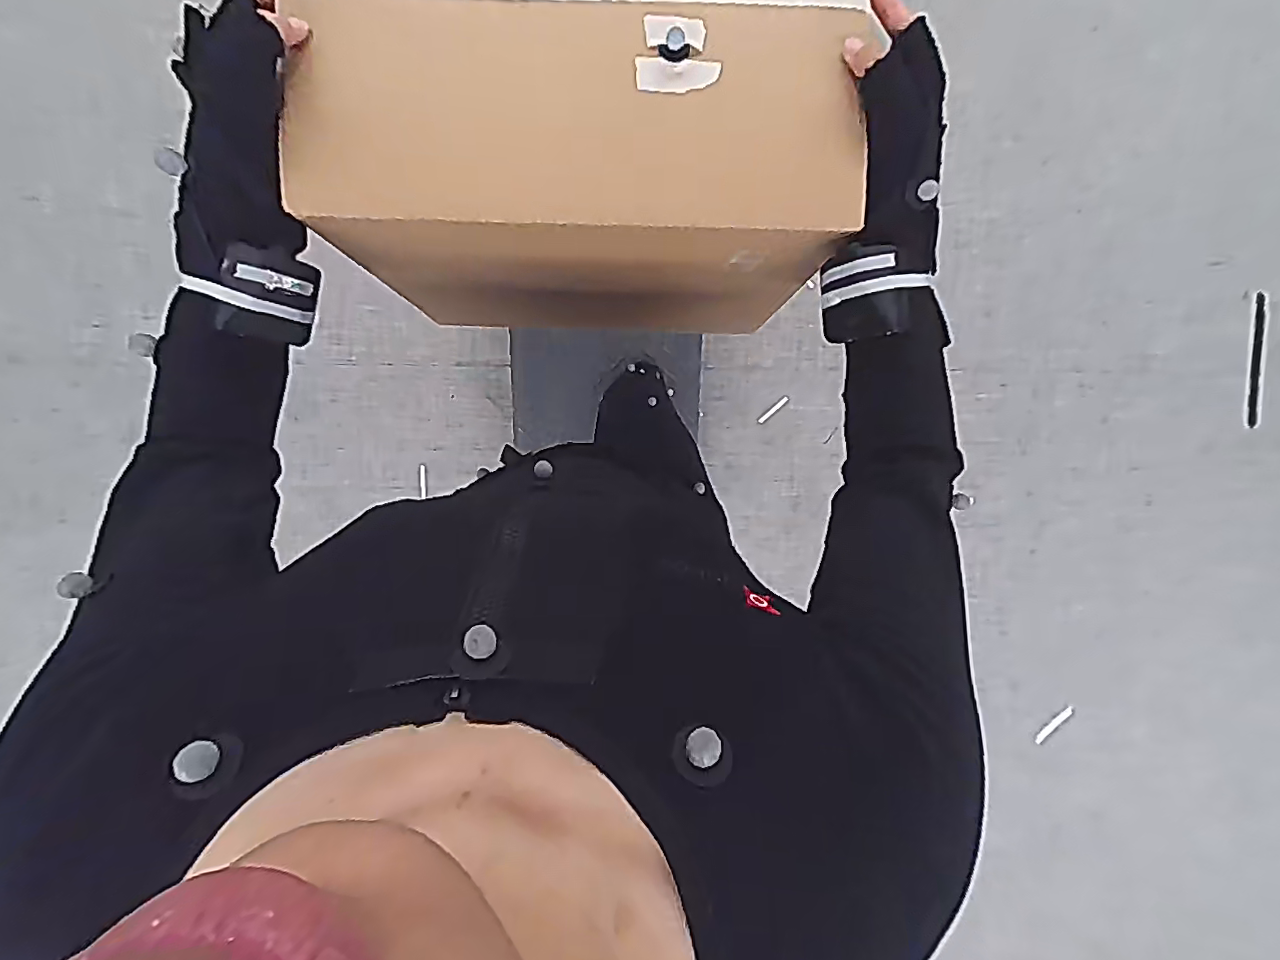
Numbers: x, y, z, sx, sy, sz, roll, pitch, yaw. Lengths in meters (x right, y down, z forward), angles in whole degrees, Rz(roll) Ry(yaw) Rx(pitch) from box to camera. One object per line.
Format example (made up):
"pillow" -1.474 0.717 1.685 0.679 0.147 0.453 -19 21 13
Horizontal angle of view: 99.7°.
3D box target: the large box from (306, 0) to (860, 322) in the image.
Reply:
"large box" -0.044 -0.351 0.537 0.408 0.320 0.320 1 92 -2
